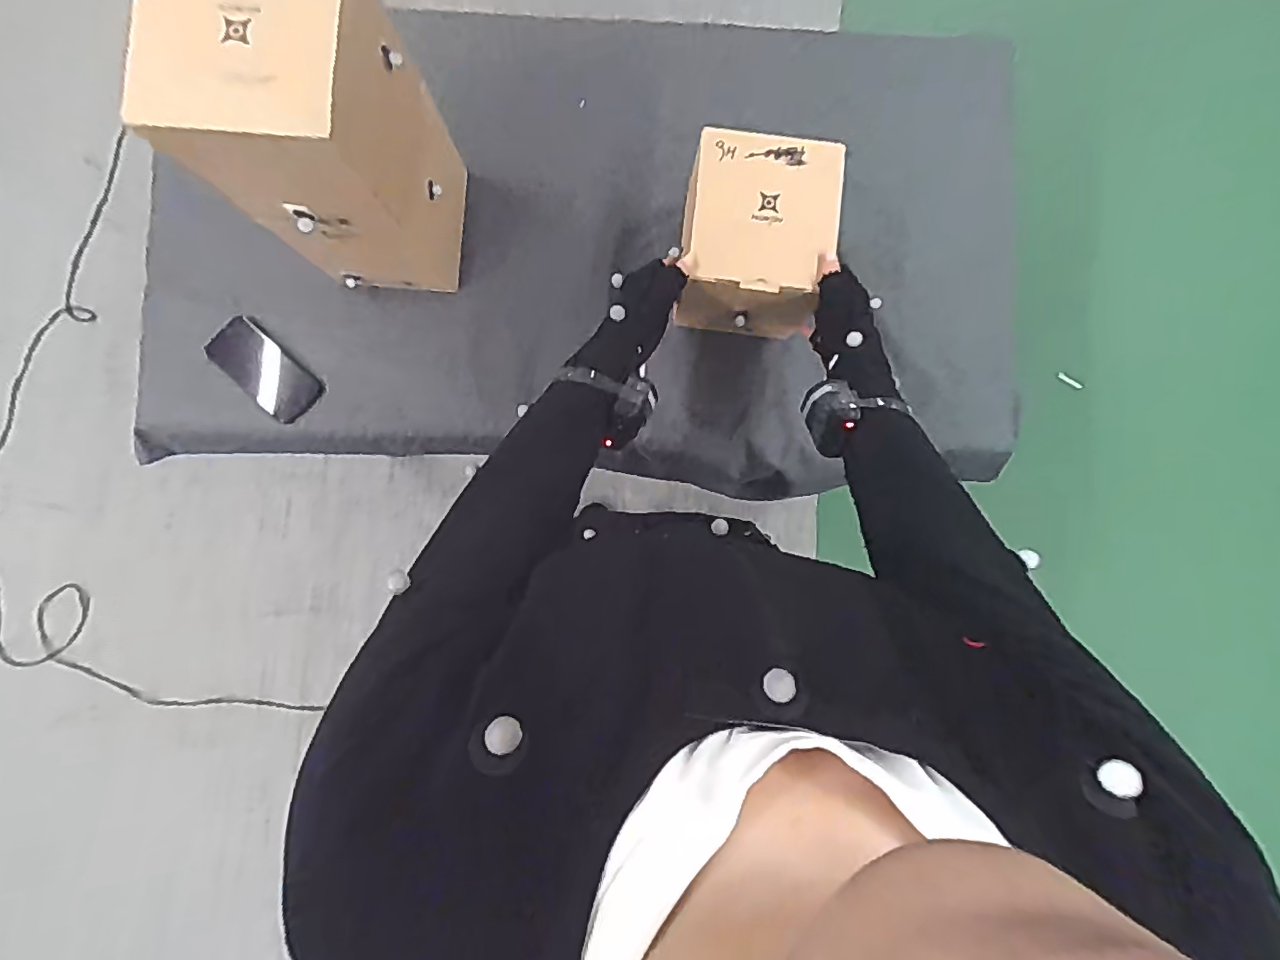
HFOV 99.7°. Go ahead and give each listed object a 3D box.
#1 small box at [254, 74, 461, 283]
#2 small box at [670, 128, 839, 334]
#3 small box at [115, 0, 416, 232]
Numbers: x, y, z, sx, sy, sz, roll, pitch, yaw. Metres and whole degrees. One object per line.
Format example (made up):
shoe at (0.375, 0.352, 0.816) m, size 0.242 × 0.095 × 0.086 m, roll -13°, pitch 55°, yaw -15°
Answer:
small box at (-0.331, -0.363, 0.669) m, size 0.168 × 0.176 × 0.179 m, roll 5°, pitch 87°, yaw -2°
small box at (0.131, -0.297, 0.684) m, size 0.168 × 0.176 × 0.179 m, roll 7°, pitch 88°, yaw -2°
small box at (-0.325, -0.364, 0.507) m, size 0.168 × 0.176 × 0.179 m, roll 4°, pitch 89°, yaw -1°
